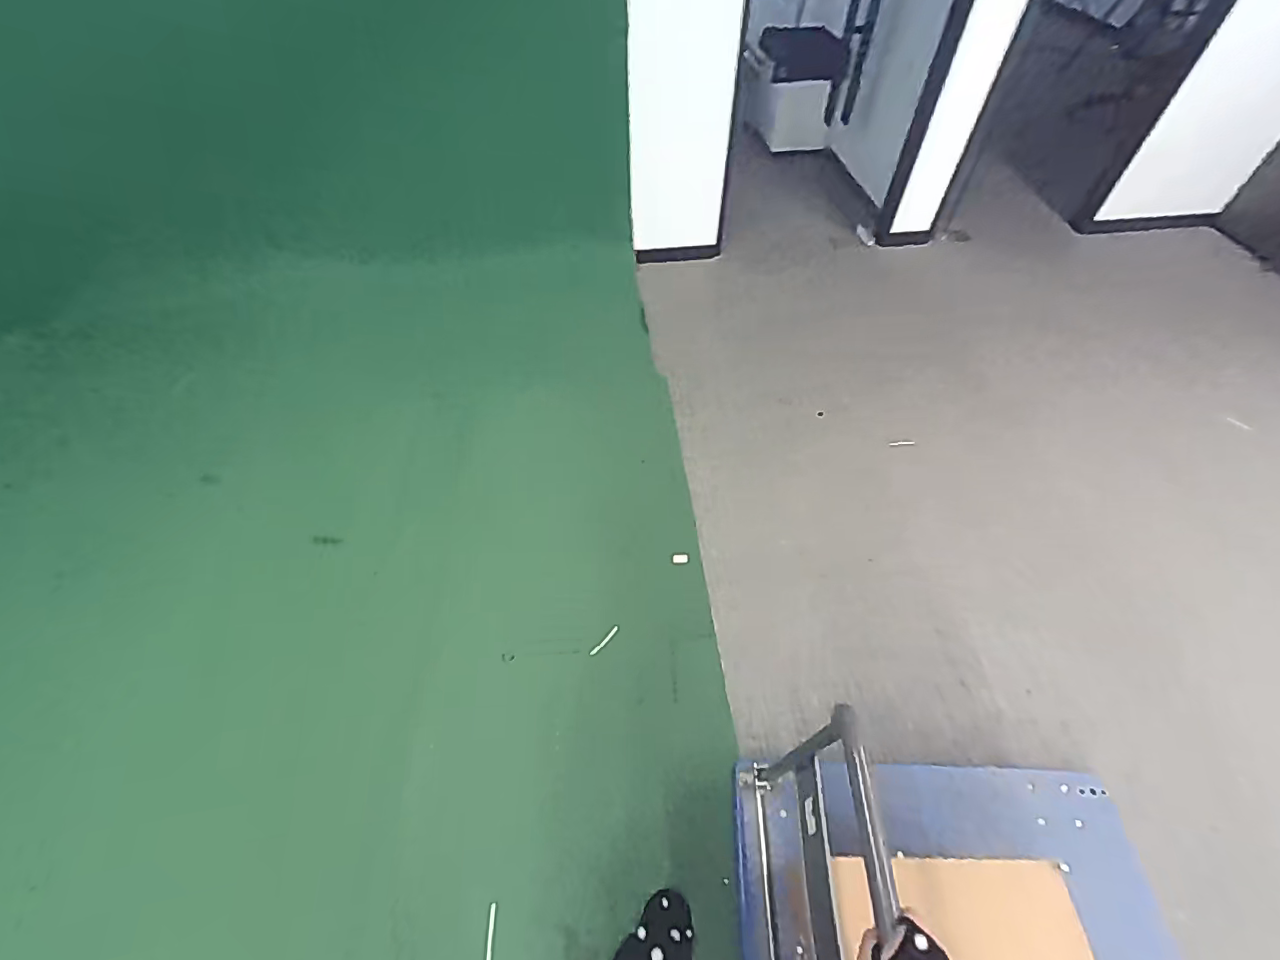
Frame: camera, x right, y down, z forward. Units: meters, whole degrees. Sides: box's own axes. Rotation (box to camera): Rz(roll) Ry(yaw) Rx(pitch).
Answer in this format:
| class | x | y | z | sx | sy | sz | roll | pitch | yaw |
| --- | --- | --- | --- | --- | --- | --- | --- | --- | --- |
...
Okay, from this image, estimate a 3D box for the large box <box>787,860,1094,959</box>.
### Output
| class | x | y | z | sx | sy | sz | roll | pitch | yaw |
| --- | --- | --- | --- | --- | --- | --- | --- | --- | --- |
| large box | 0.511 | 0.869 | 0.945 | 0.408 | 0.320 | 0.320 | 1 | 52 | 0 |
